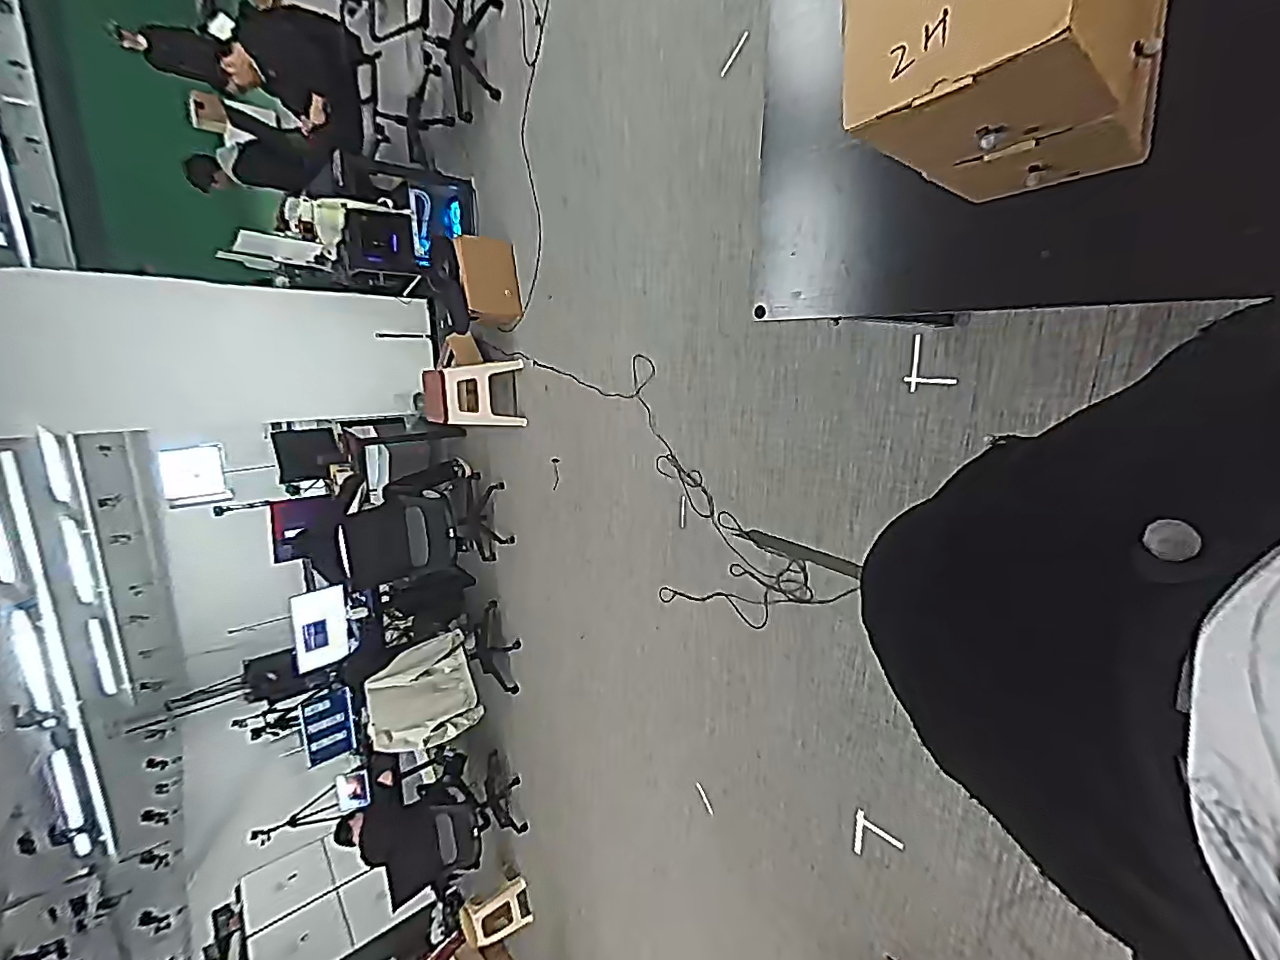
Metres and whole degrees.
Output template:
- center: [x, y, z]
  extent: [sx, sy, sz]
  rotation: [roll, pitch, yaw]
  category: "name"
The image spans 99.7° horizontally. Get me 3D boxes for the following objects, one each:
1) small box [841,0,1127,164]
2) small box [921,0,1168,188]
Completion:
- center: [0.291, -0.405, 0.460]
  extent: [0.168, 0.176, 0.179]
  rotation: [8, 104, 50]
  category: "small box"
- center: [0.419, -0.424, 0.565]
  extent: [0.168, 0.176, 0.179]
  rotation: [10, 106, 50]
  category: "small box"
